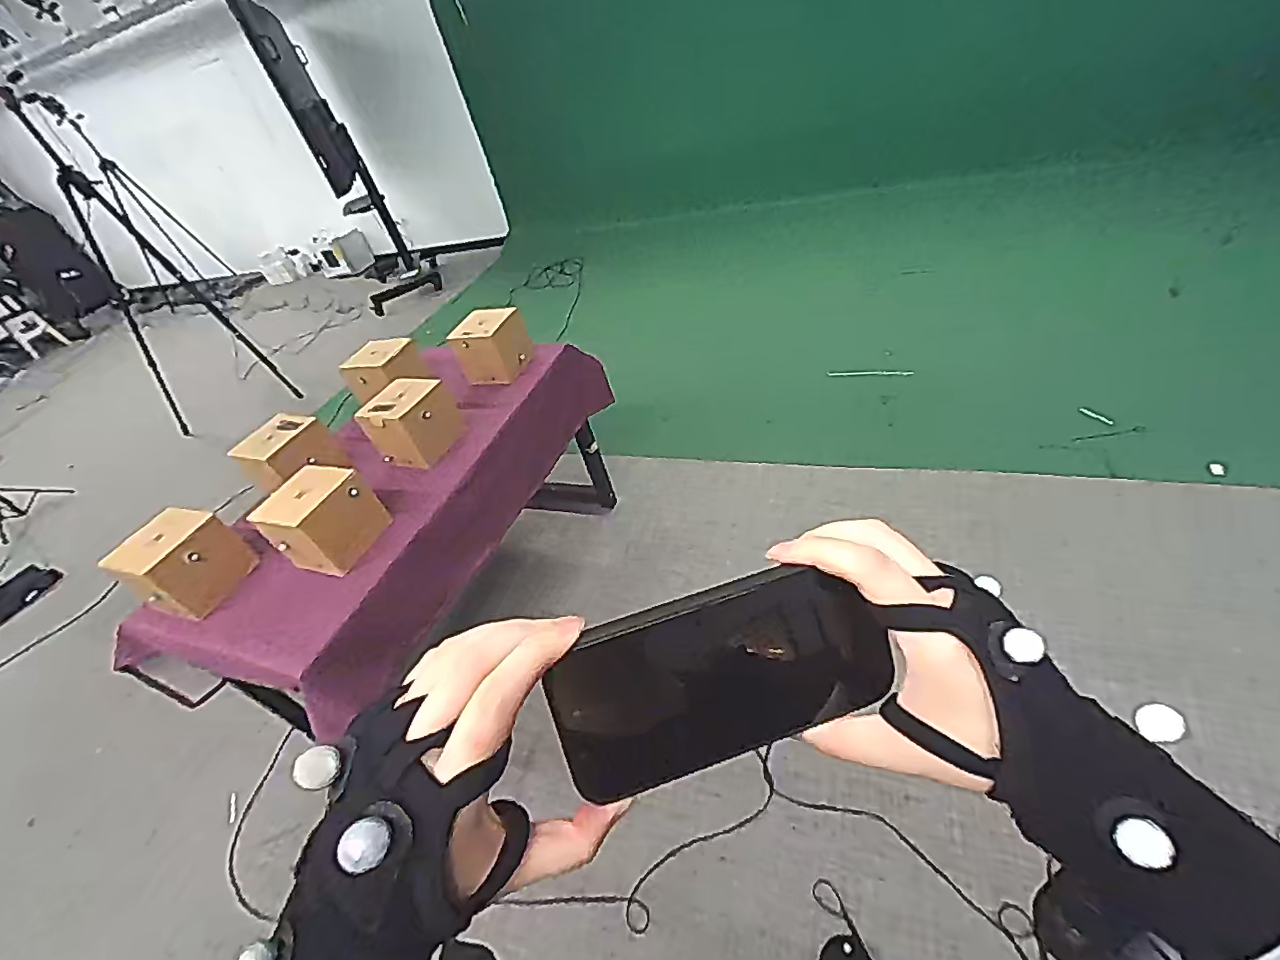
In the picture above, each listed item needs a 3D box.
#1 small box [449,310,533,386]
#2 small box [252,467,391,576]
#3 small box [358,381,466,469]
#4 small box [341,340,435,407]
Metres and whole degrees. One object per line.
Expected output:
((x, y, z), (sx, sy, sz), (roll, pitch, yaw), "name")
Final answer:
((-0.456, -0.415, 1.699), (0.168, 0.176, 0.179), (3, 44, 23), "small box")
((-0.704, 0.093, 1.218), (0.168, 0.176, 0.179), (5, 44, 24), "small box")
((-0.603, -0.149, 1.453), (0.168, 0.176, 0.179), (7, 45, 25), "small box")
((-0.790, -0.325, 1.714), (0.179, 0.176, 0.168), (2, 45, 21), "small box")
